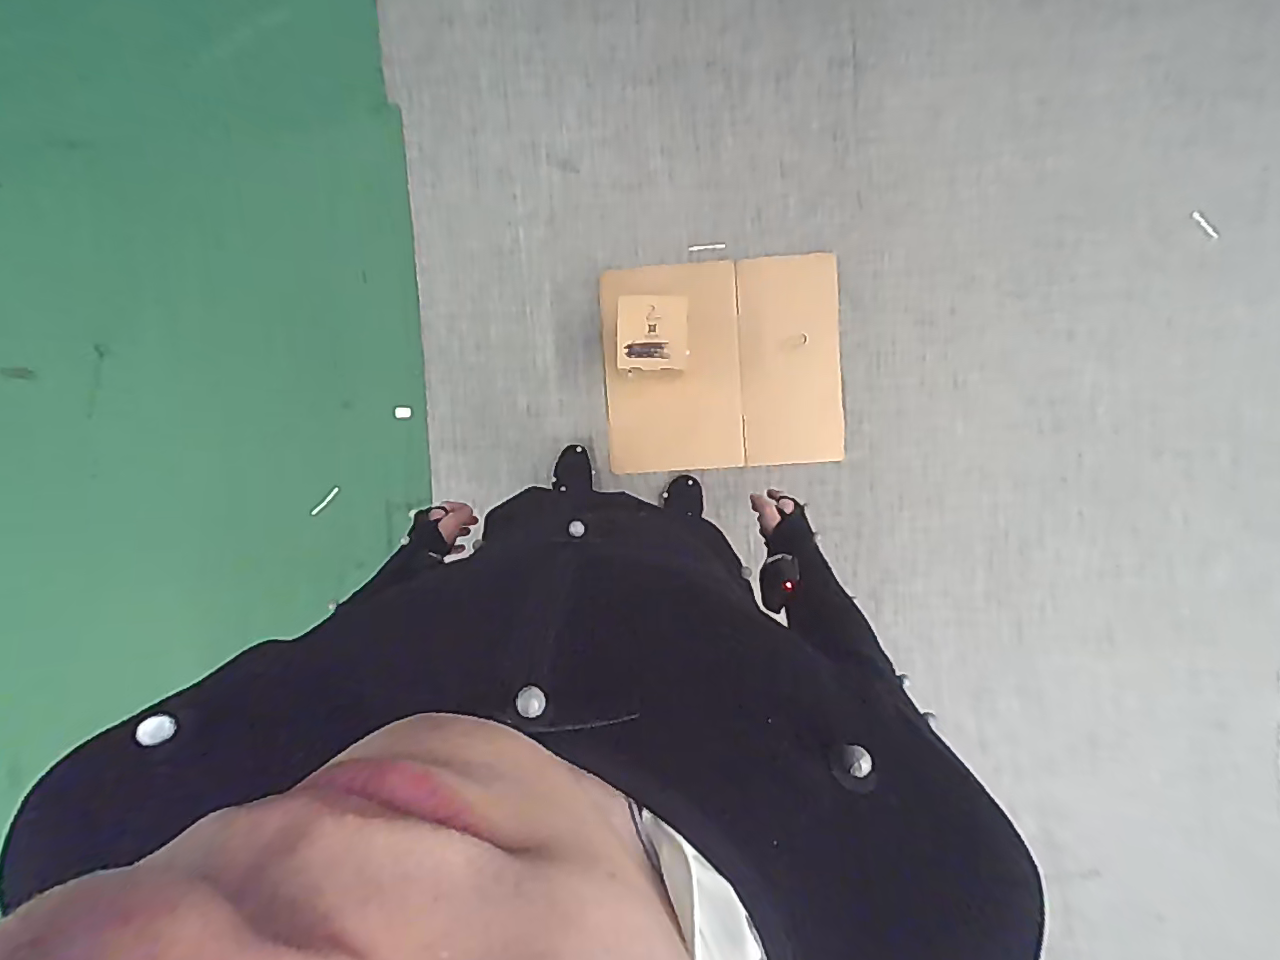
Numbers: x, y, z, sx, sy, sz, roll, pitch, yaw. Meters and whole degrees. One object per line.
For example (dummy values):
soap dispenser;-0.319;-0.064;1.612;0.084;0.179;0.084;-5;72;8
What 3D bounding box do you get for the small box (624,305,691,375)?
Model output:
small box;0.050;-0.388;1.517;0.179;0.176;0.168;1;95;2
